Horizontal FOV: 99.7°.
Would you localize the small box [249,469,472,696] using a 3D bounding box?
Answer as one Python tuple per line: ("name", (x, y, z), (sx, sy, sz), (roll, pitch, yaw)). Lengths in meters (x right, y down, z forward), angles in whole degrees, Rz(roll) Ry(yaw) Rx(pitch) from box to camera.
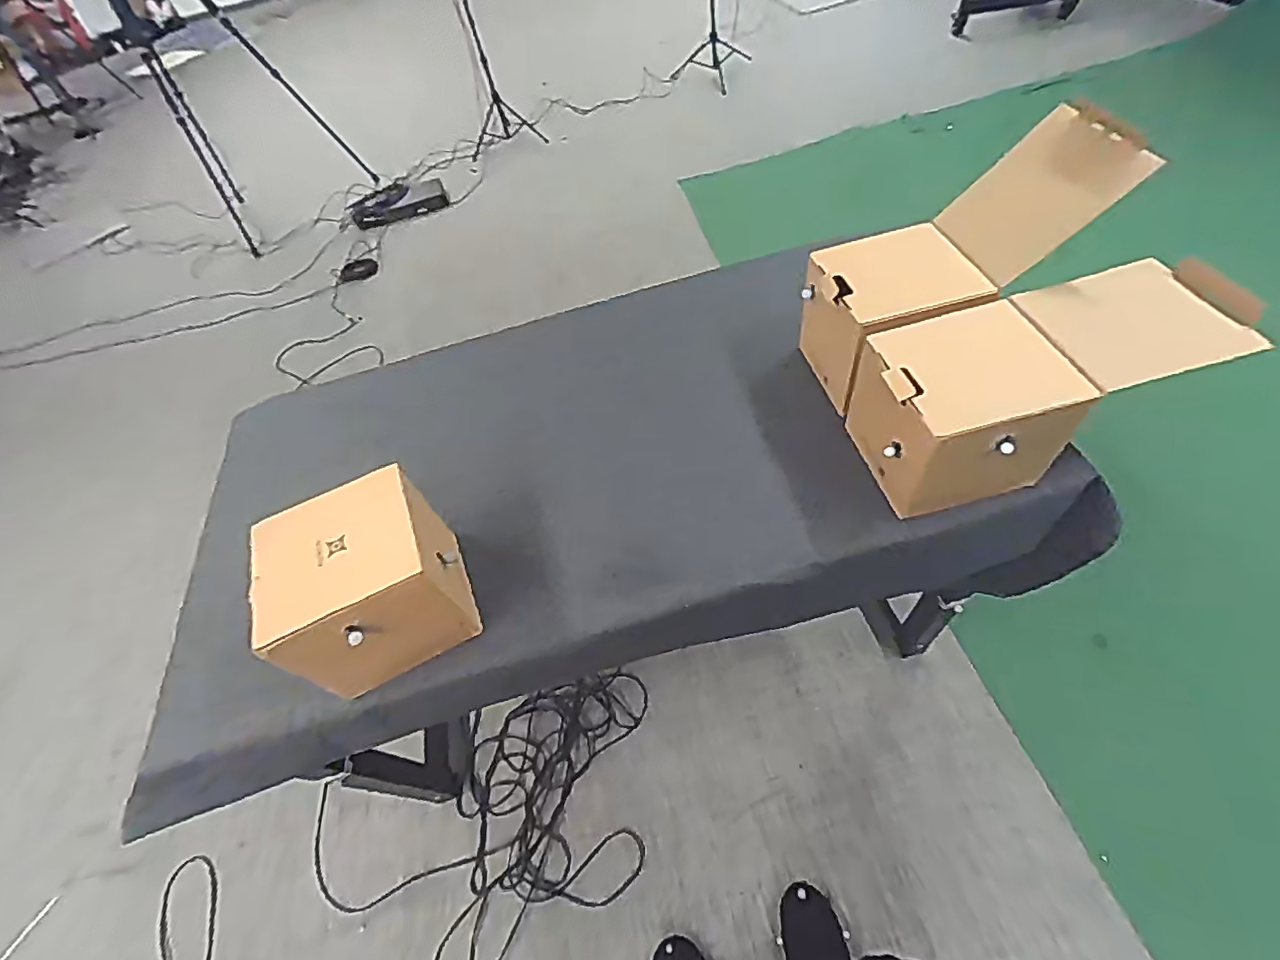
("small box", (-0.317, 0.125, 0.639), (0.179, 0.176, 0.168), (-26, 53, -8))
